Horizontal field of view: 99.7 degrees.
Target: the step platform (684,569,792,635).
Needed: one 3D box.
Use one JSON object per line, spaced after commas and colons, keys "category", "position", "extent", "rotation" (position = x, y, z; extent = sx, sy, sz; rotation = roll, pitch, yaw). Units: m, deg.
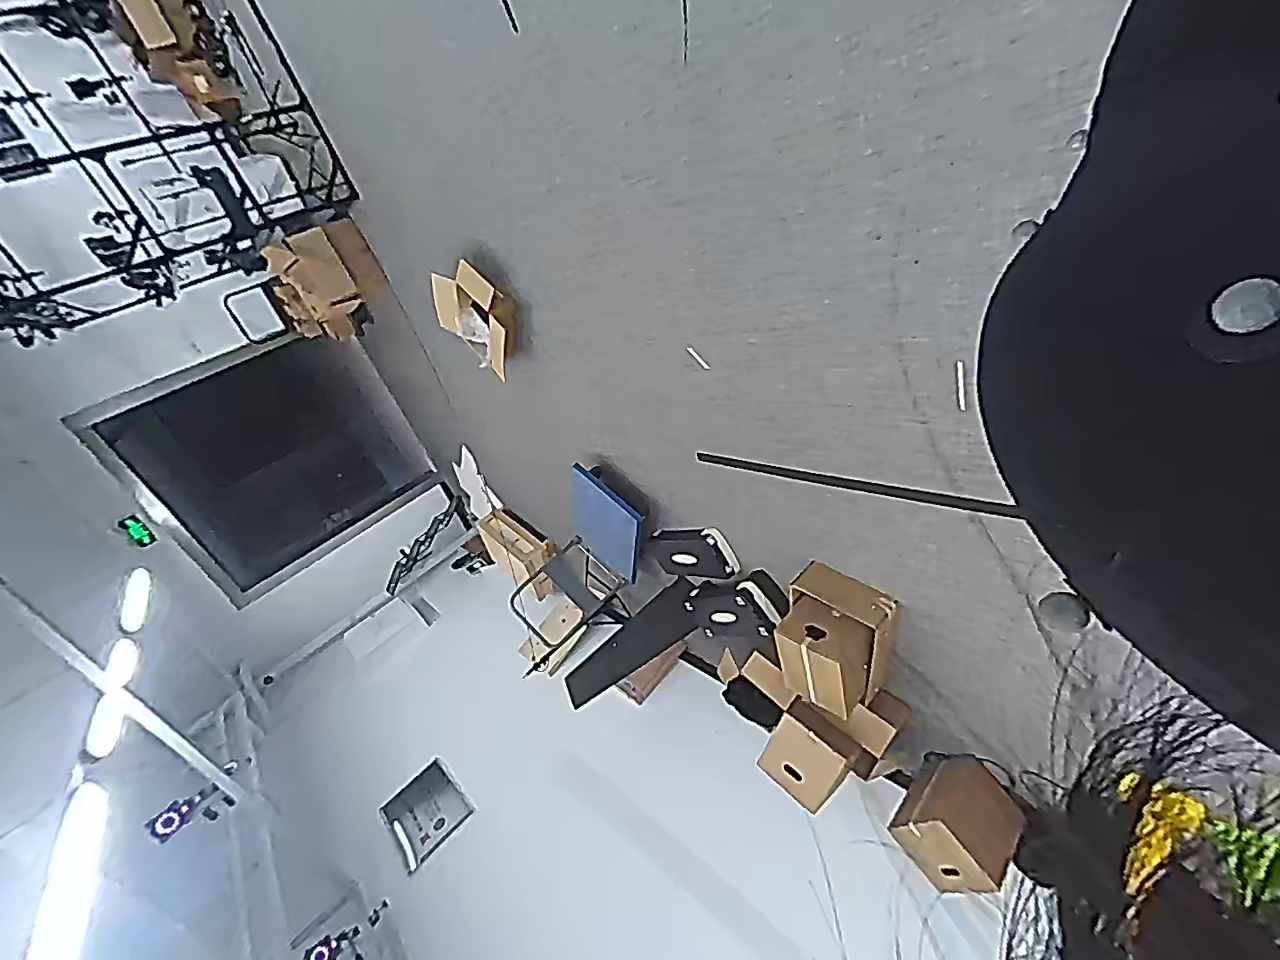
{"category": "step platform", "position": [0.519, 0.696, 3.016], "extent": [0.286, 0.204, 0.684], "rotation": [53, 151, -2]}
